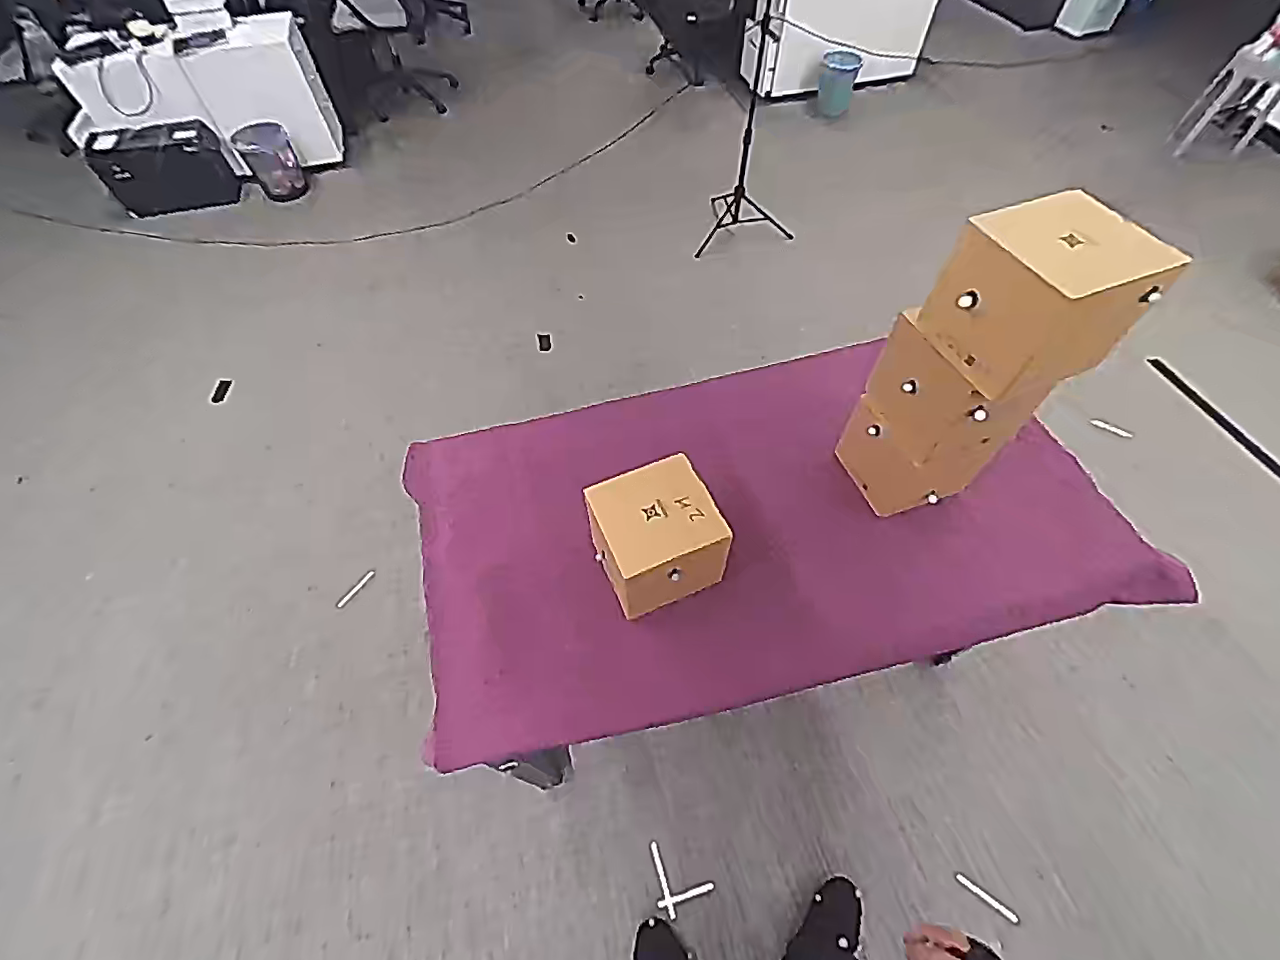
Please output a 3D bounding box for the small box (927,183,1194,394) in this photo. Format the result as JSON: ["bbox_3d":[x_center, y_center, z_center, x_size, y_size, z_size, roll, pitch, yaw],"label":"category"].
[{"bbox_3d":[0.496,-0.234,0.679,0.179,0.176,0.168,-19,58,-11],"label":"small box"}]

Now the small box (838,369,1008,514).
[{"bbox_3d":[0.486,-0.065,0.960,0.179,0.176,0.168,-16,57,-10],"label":"small box"}]

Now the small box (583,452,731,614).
[{"bbox_3d":[0.025,0.090,0.864,0.179,0.176,0.168,-20,58,-13],"label":"small box"}]
